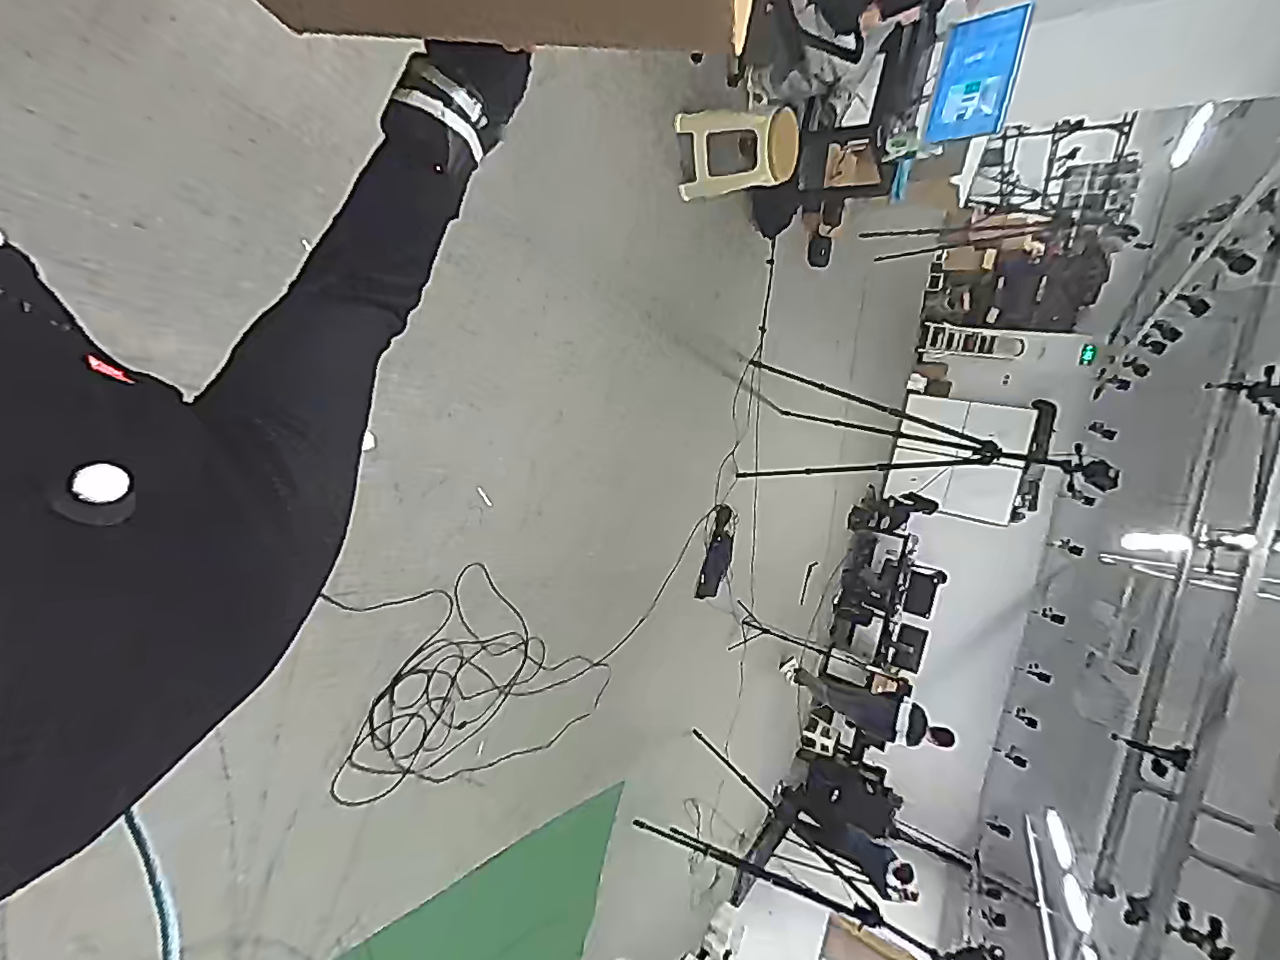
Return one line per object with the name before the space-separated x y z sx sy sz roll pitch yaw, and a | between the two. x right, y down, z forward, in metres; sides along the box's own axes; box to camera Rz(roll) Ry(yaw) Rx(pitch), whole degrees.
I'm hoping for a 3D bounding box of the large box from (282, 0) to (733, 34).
large box | -0.107 -0.420 0.140 0.408 0.320 0.320 -37 137 -78
